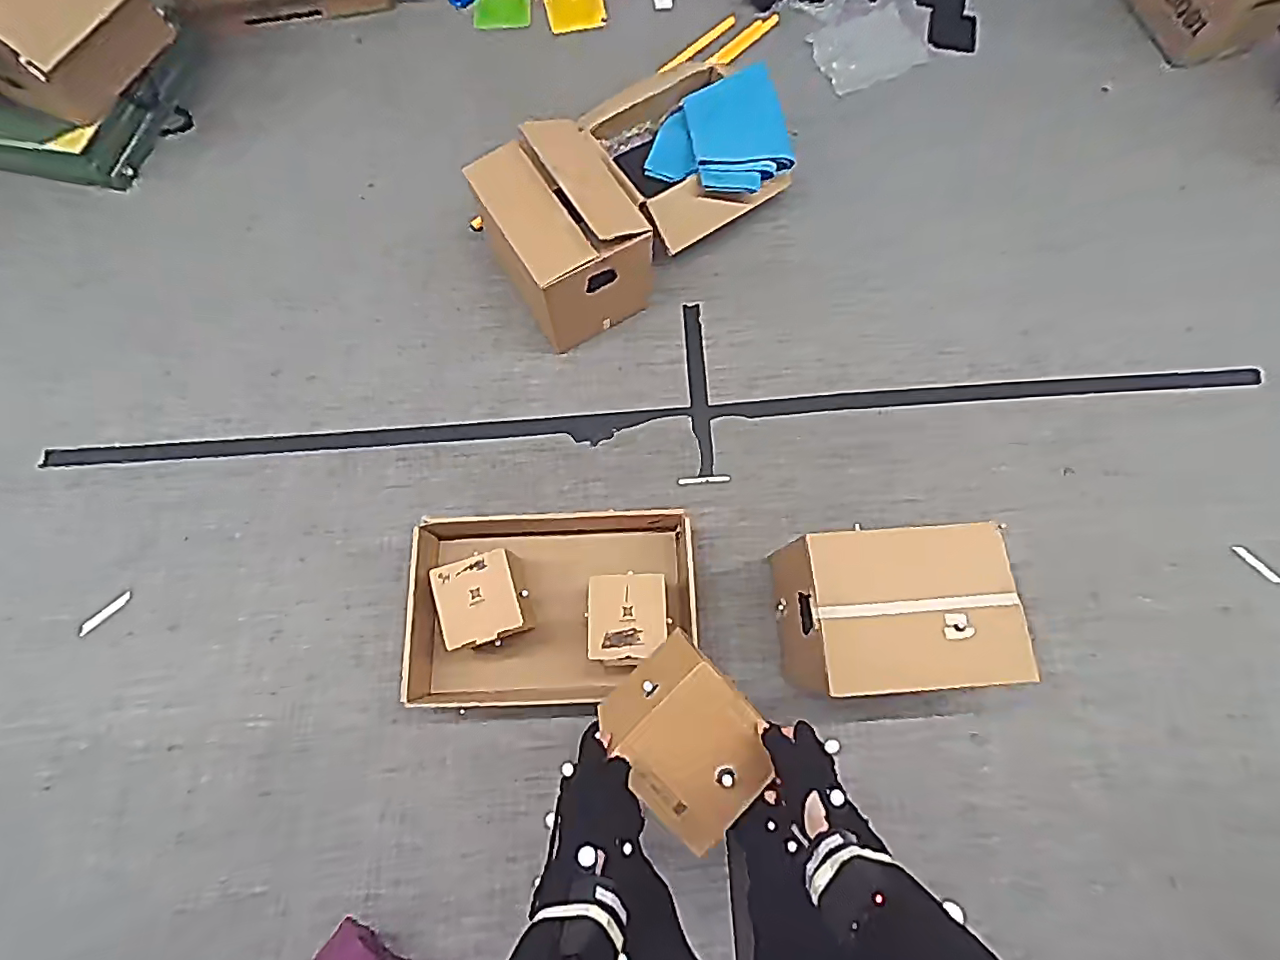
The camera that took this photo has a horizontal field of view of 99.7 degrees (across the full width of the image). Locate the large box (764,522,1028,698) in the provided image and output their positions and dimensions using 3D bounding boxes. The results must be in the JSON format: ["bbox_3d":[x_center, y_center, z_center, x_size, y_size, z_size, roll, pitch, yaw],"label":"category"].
[{"bbox_3d":[0.528,0.290,1.206,0.408,0.320,0.320,-4,74,-3],"label":"large box"}]
